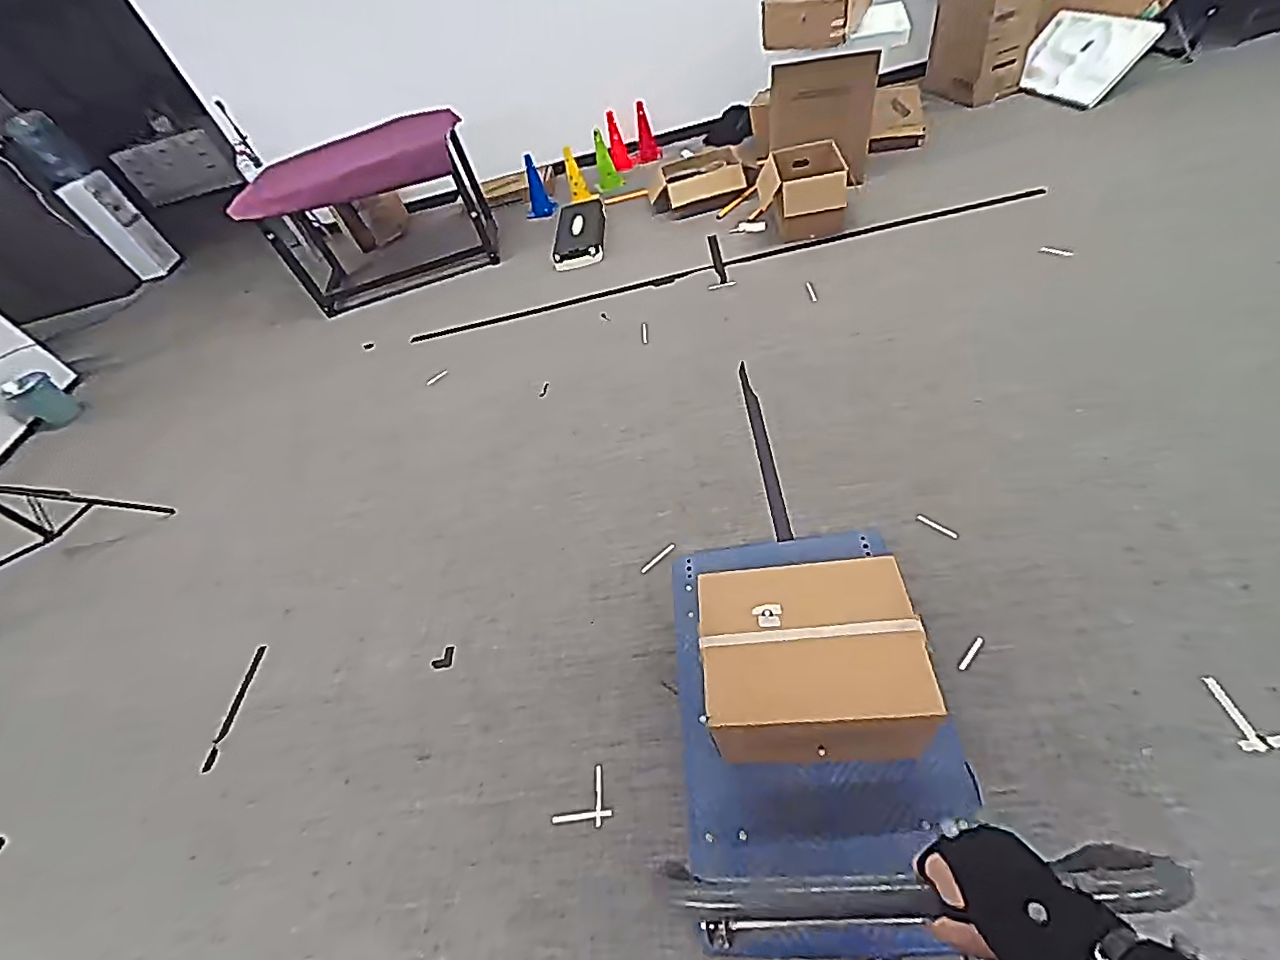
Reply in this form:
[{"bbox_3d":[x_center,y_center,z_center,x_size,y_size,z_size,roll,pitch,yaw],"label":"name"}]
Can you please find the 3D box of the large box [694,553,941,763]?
[{"bbox_3d":[0.345,0.385,1.136,0.408,0.320,0.320,-9,48,11],"label":"large box"}]
